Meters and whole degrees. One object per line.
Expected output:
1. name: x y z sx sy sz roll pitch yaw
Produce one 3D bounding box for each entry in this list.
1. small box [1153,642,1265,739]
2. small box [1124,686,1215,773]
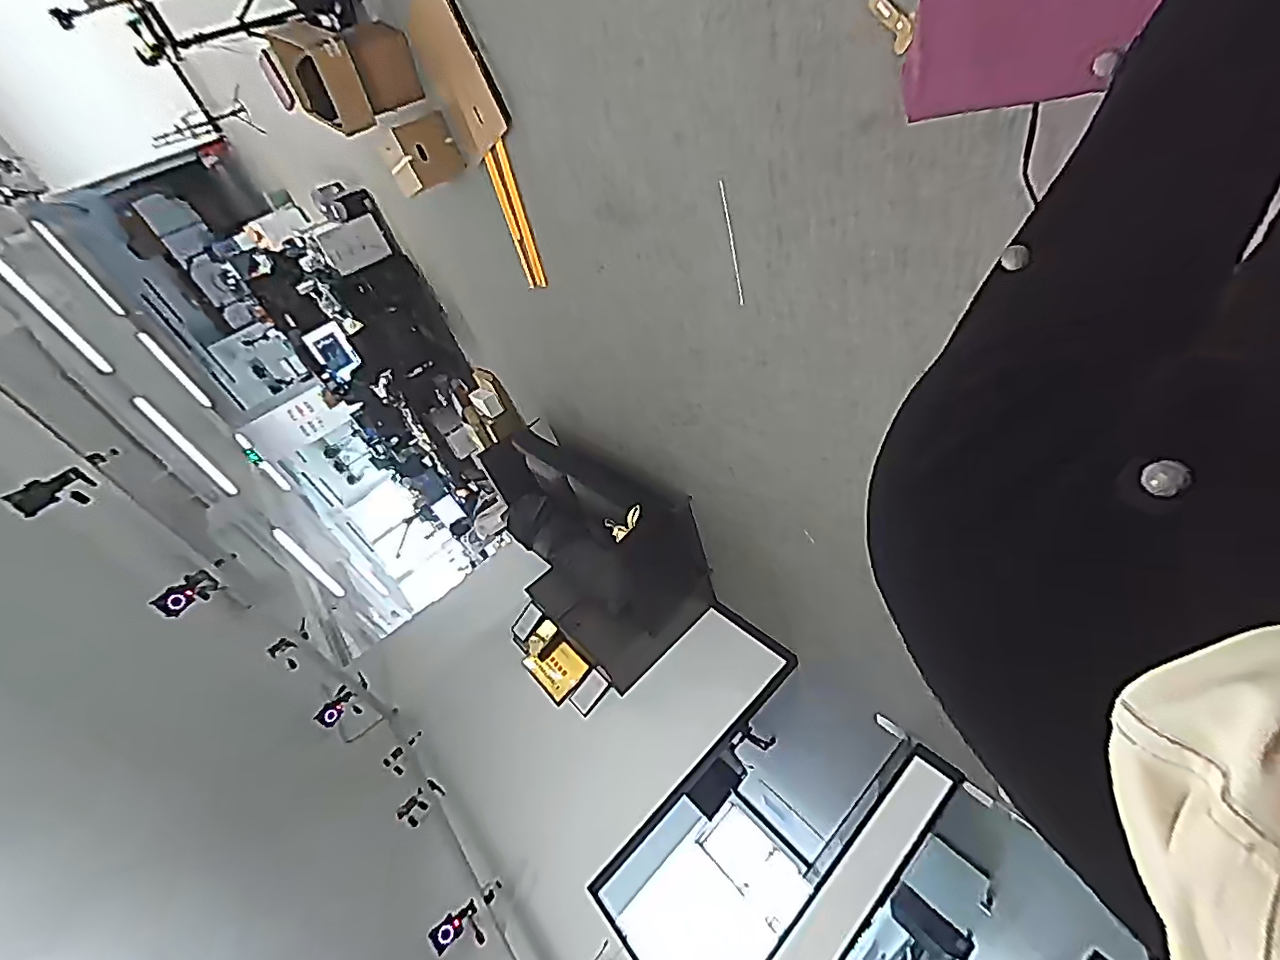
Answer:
1. small box: 1.702 0.625 1.617 0.168 0.176 0.179 31 152 42
2. small box: 1.772 0.823 1.798 0.168 0.176 0.179 32 153 42
